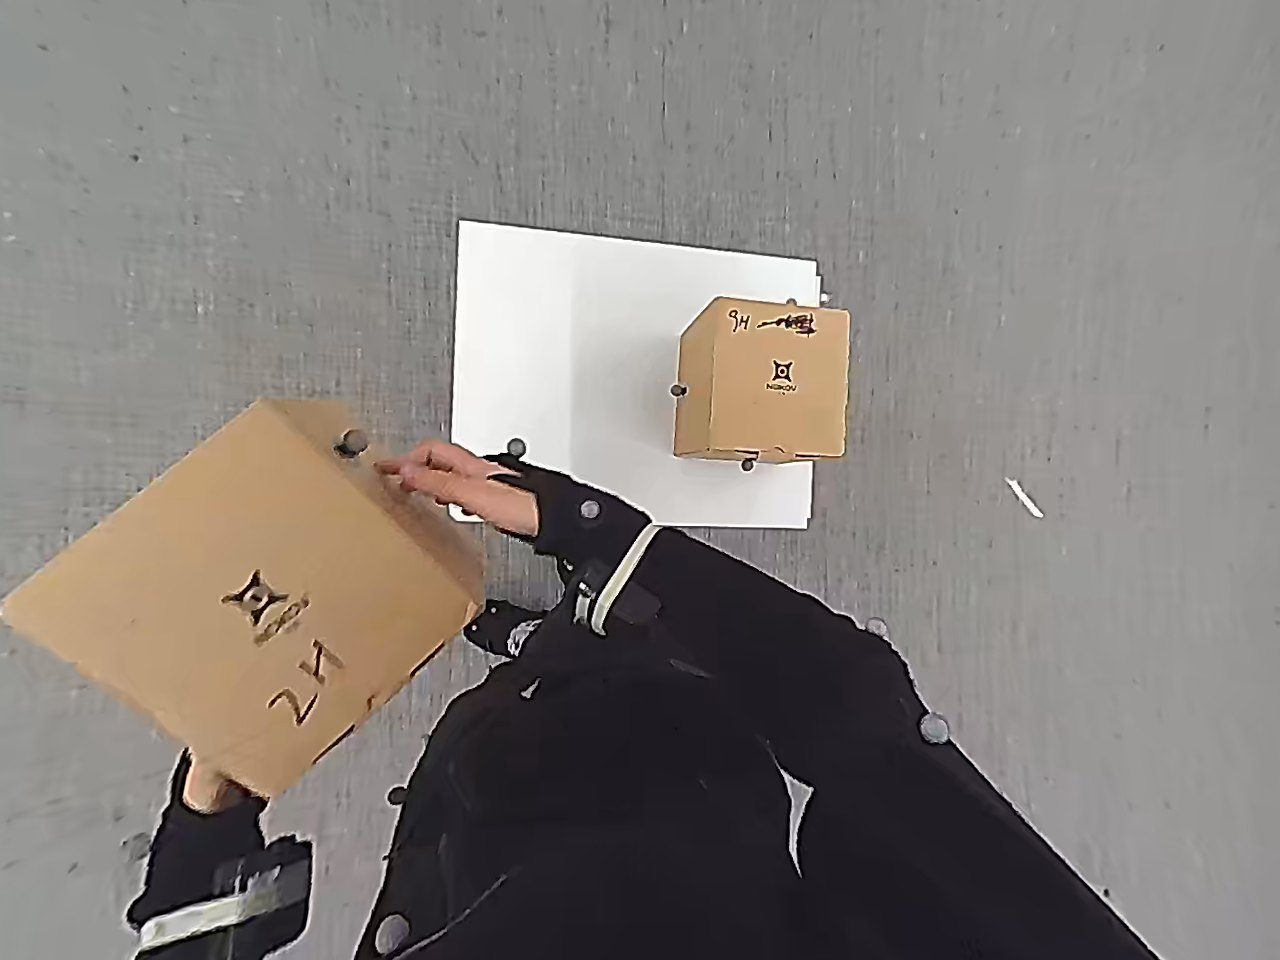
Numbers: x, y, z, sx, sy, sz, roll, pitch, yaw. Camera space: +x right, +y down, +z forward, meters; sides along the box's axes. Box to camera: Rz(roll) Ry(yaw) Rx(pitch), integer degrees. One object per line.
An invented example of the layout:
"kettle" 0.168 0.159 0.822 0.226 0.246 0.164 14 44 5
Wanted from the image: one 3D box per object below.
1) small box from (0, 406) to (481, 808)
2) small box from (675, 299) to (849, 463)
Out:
"small box" -0.234 0.067 0.376 0.168 0.176 0.179 -43 108 -7
"small box" 0.144 -0.114 0.697 0.168 0.176 0.179 3 90 -10
